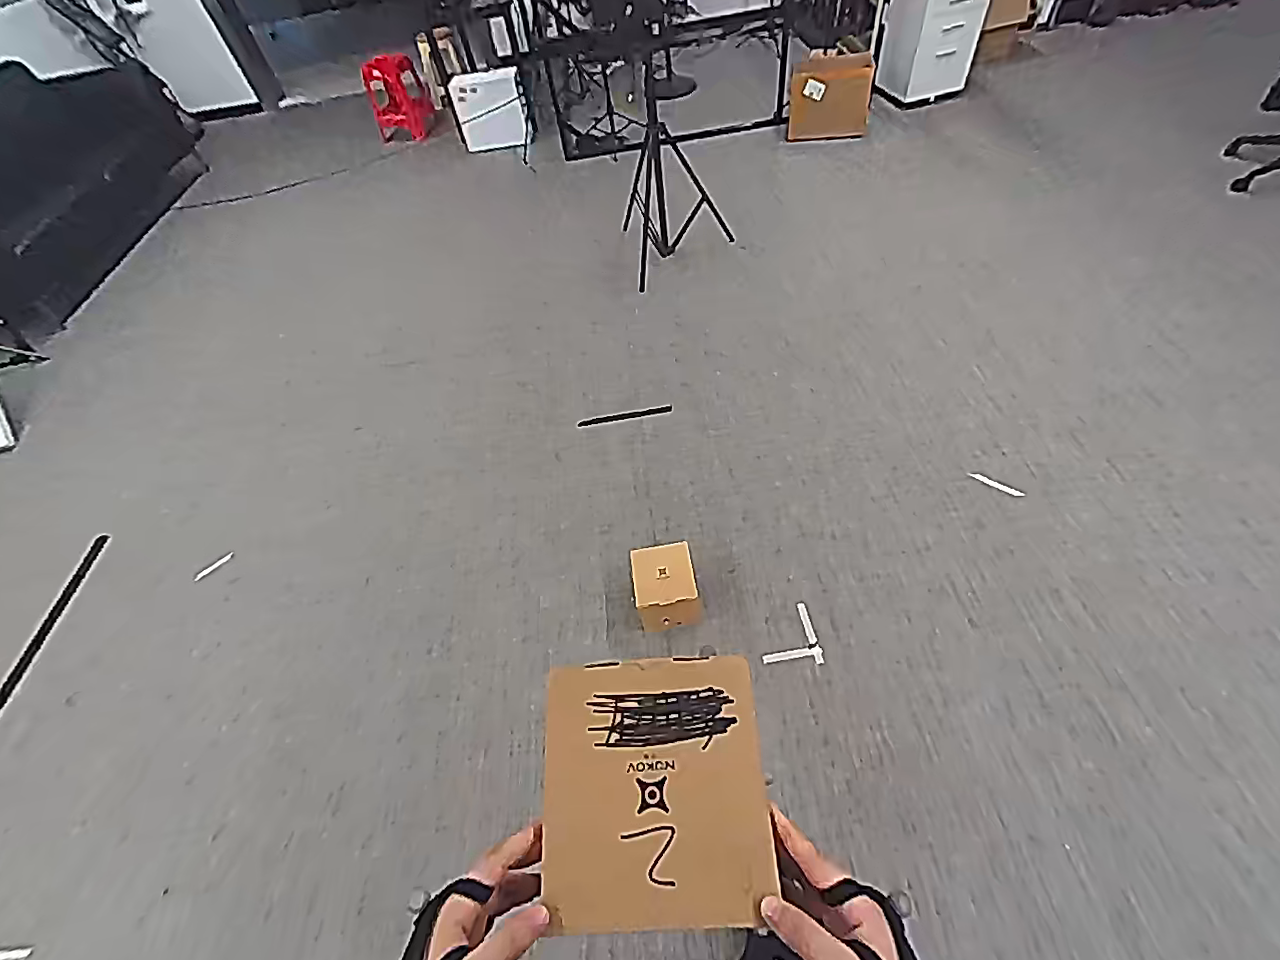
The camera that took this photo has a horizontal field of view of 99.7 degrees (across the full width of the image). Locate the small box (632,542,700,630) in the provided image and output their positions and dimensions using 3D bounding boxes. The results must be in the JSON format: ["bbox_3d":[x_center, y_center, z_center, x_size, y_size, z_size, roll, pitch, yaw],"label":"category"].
[{"bbox_3d":[0.074,0.301,1.526,0.168,0.176,0.179,-10,52,1],"label":"small box"}]
